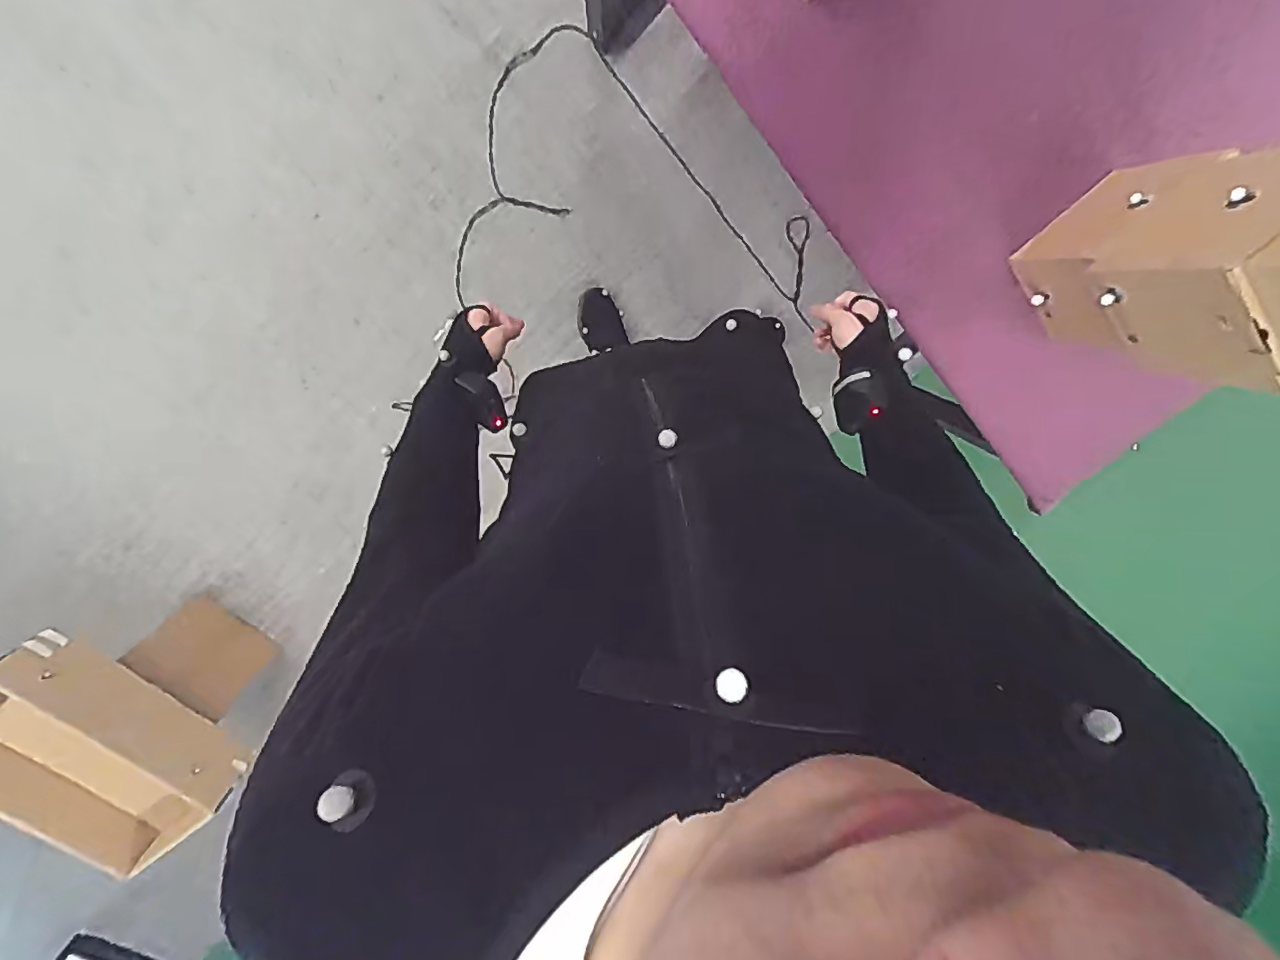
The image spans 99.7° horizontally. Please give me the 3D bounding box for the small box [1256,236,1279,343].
[{"bbox_3d":[0.658,-0.167,0.420,0.168,0.176,0.179,43,102,-16],"label":"small box"}]

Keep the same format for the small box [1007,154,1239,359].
[{"bbox_3d":[0.651,-0.289,0.722,0.179,0.176,0.168,-40,107,12],"label":"small box"}]

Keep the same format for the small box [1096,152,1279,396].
[{"bbox_3d":[0.642,-0.218,0.573,0.179,0.176,0.168,-43,107,12],"label":"small box"}]
